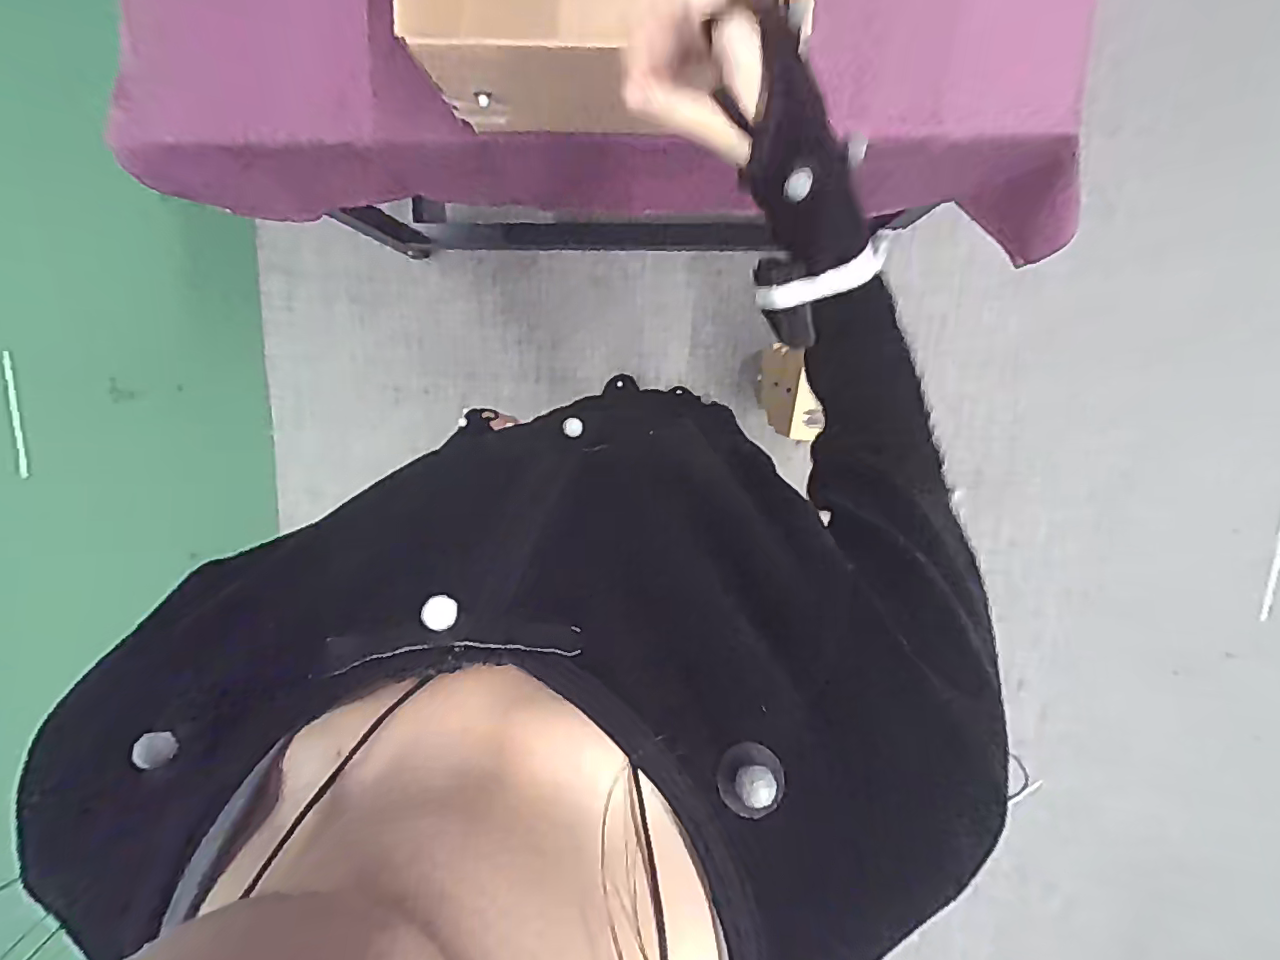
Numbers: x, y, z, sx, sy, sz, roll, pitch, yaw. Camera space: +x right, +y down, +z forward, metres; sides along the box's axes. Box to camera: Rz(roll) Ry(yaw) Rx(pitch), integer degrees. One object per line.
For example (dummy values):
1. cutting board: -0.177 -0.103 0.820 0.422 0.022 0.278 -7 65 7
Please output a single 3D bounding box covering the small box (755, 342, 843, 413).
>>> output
1. small box: 0.392 -0.258 1.359 0.179 0.176 0.168 1 100 4
